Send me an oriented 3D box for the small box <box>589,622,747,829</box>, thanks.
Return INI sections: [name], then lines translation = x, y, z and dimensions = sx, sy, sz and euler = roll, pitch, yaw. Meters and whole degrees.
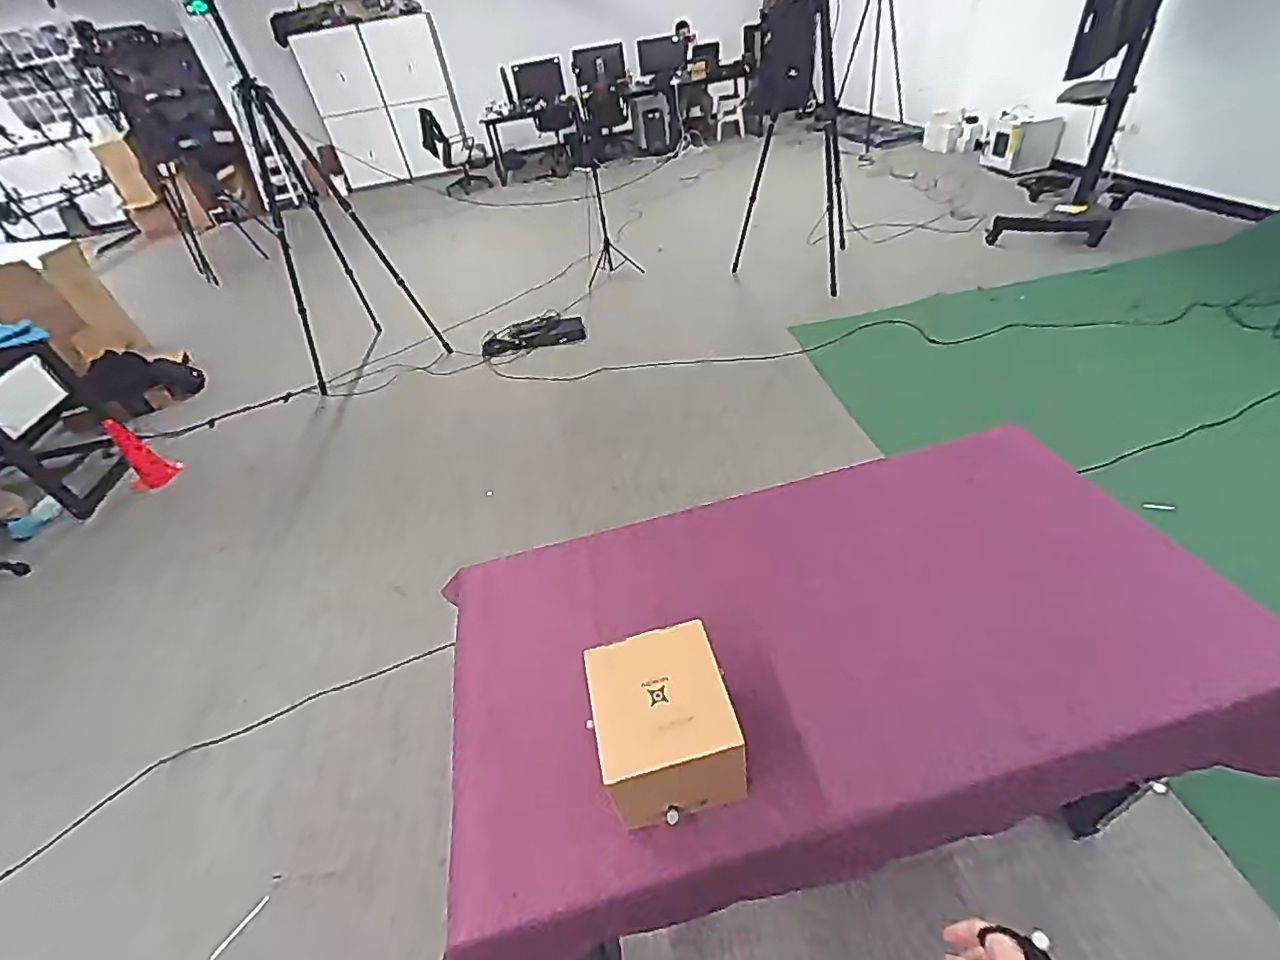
[small box]
translation = 0.036, 0.325, 0.719
dimensions = 0.168, 0.176, 0.179
euler = -14, 41, -3
